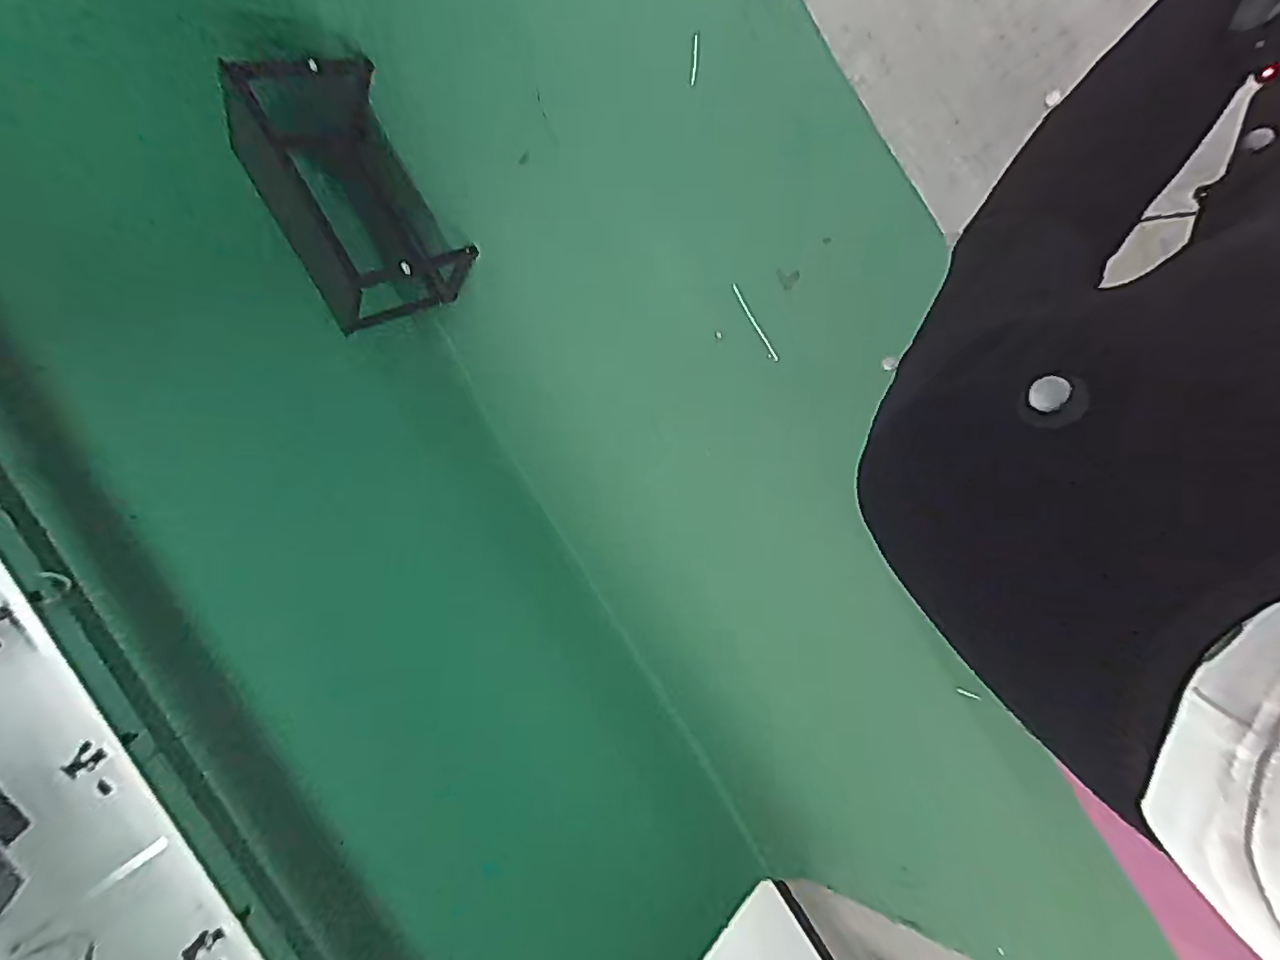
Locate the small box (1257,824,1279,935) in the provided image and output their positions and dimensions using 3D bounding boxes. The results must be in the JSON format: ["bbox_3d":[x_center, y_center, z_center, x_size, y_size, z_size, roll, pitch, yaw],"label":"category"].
[{"bbox_3d":[1.003,0.595,0.728,0.168,0.176,0.179,57,148,-1],"label":"small box"}]
